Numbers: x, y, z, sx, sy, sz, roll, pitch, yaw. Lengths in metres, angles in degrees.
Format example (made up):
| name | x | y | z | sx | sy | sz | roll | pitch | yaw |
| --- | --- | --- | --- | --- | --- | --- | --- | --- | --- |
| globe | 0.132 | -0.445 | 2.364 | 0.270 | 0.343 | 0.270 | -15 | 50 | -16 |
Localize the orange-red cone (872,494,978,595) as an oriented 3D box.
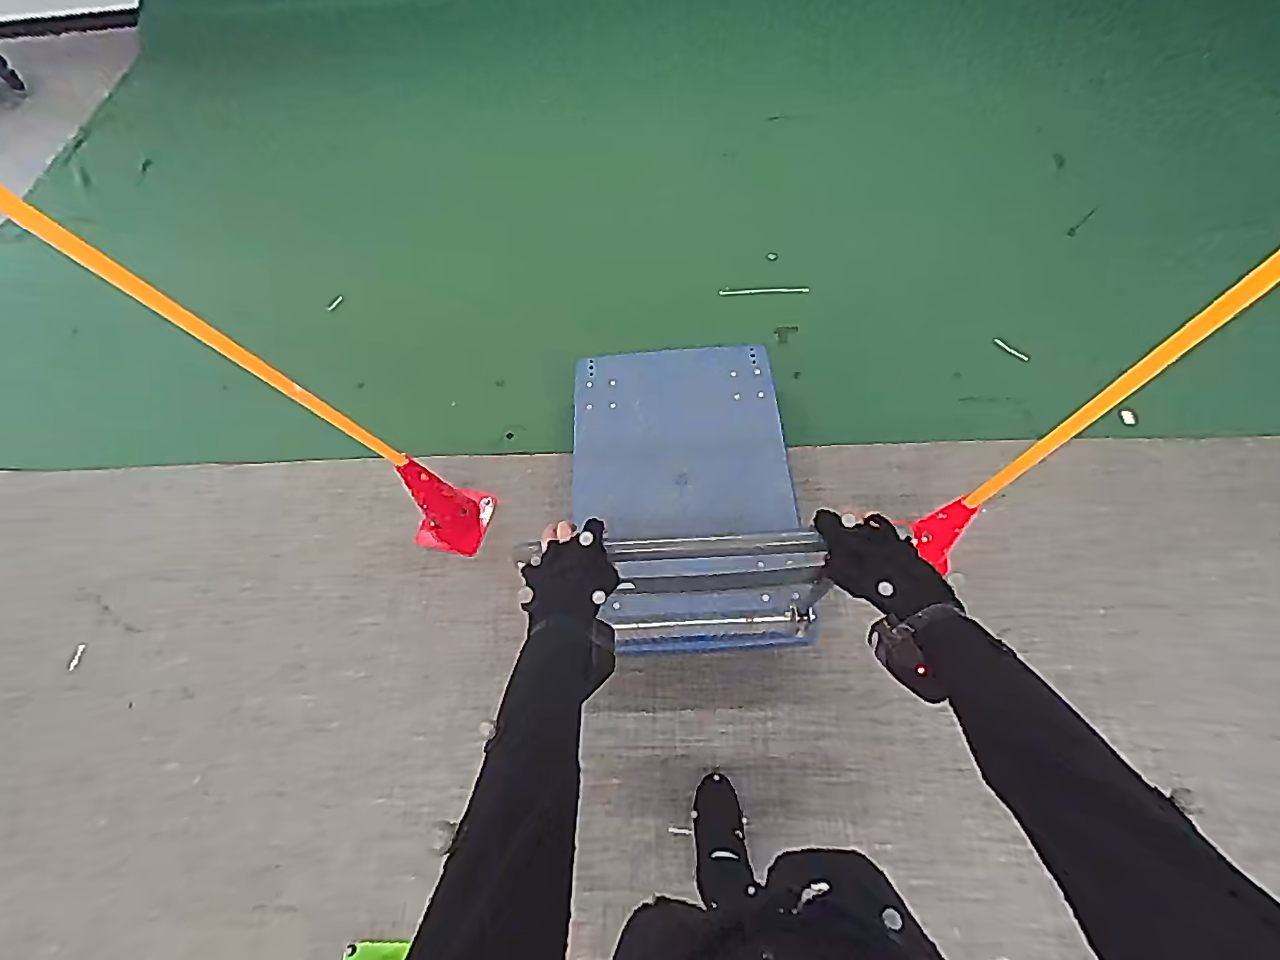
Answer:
| name | x | y | z | sx | sy | sz | roll | pitch | yaw |
| --- | --- | --- | --- | --- | --- | --- | --- | --- | --- |
| orange-red cone | 0.721 | 0.128 | 1.314 | 0.198 | 0.360 | 0.199 | 8 | 64 | 9 |
